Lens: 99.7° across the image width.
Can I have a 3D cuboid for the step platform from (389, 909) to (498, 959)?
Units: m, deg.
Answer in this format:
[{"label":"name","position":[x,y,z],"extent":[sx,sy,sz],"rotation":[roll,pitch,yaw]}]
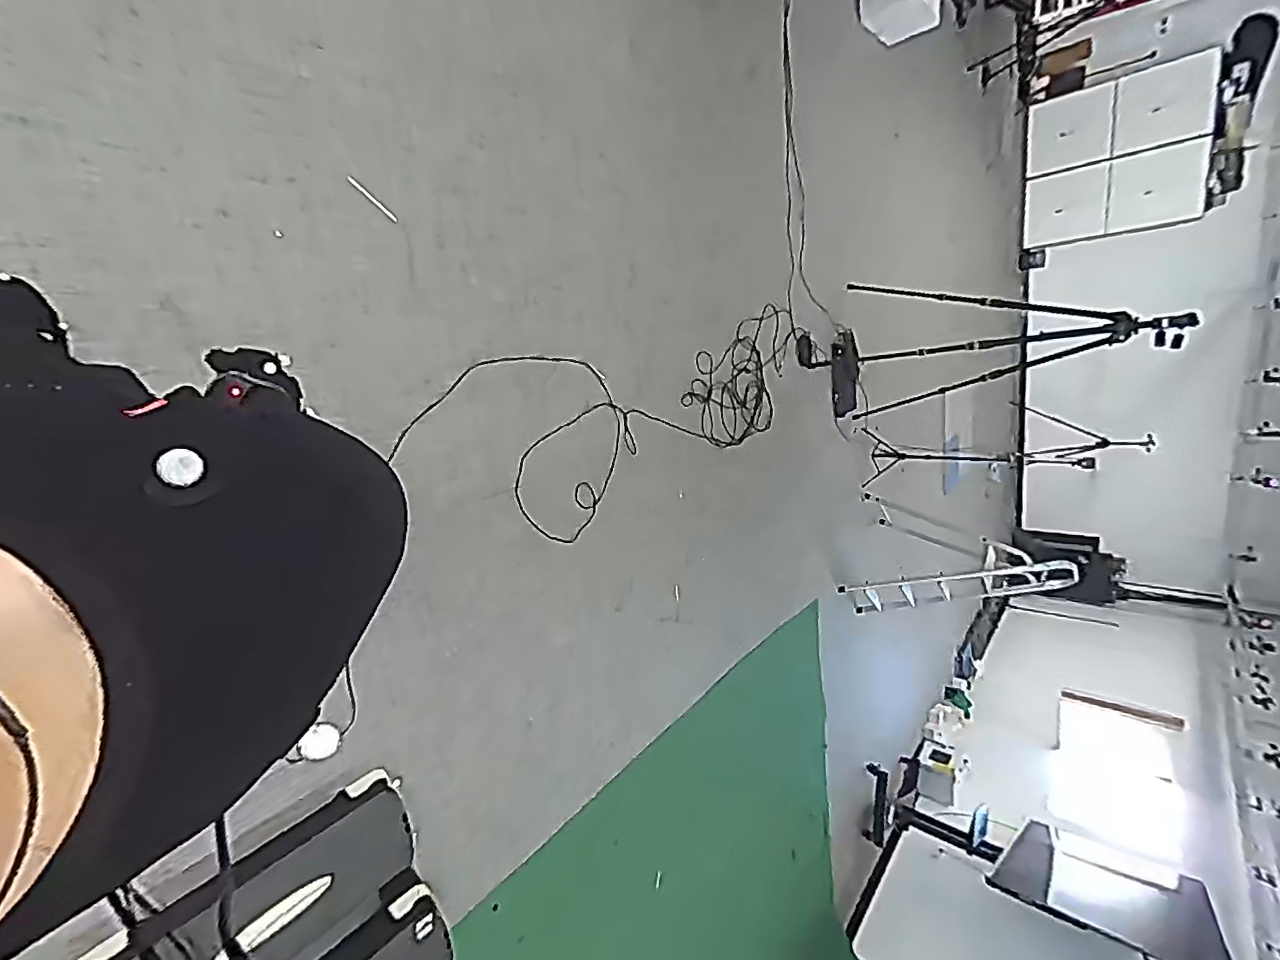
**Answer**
[{"label":"step platform","position":[-0.654,1.399,1.256],"extent":[0.684,0.204,0.286],"rotation":[-23,110,-45]}]
